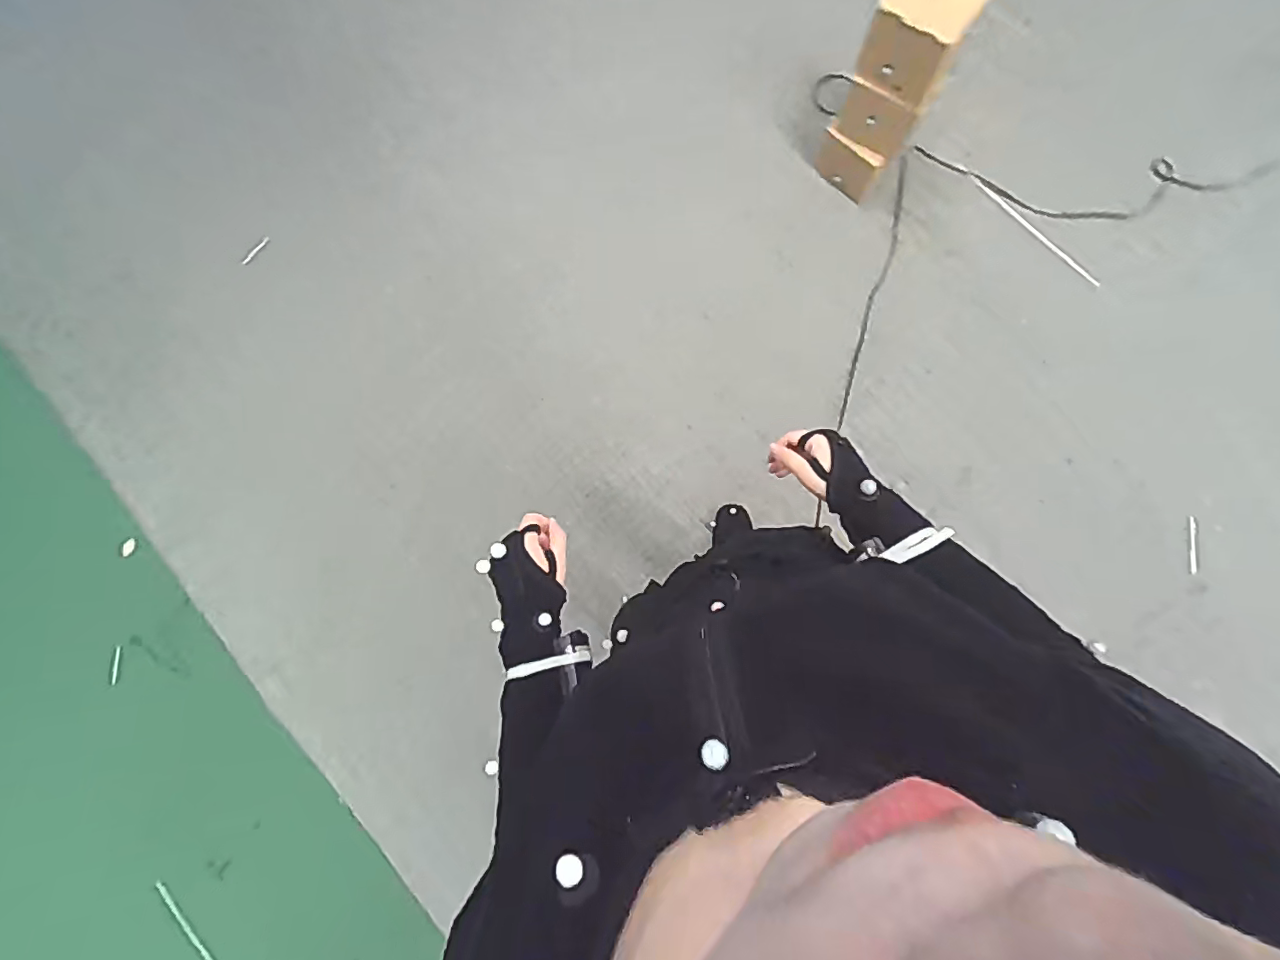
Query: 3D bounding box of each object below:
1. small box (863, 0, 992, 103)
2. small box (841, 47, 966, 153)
[{"bbox_3d":[0.579,-0.922,1.086,0.168,0.176,0.179,37,94,9],"label":"small box"},{"bbox_3d":[0.595,-0.902,1.248,0.179,0.176,0.168,34,92,10],"label":"small box"}]
